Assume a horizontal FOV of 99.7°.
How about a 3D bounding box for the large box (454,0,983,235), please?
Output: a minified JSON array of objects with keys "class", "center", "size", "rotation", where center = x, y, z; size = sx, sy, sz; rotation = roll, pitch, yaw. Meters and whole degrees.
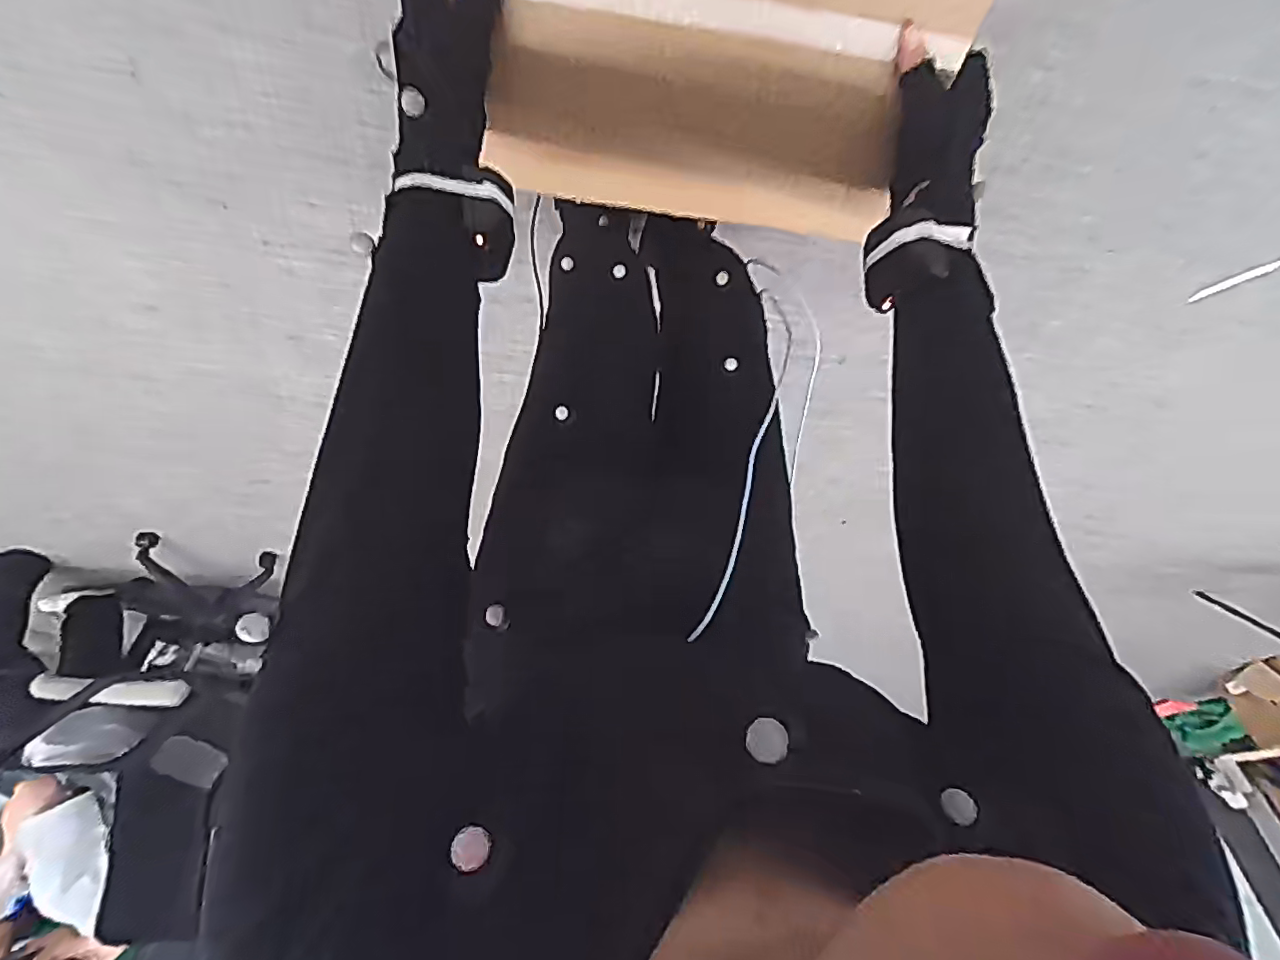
[{"class":"large box","center":[0.061,-0.478,0.504],"size":[0.408,0.320,0.320],"rotation":[6,142,-6]}]
